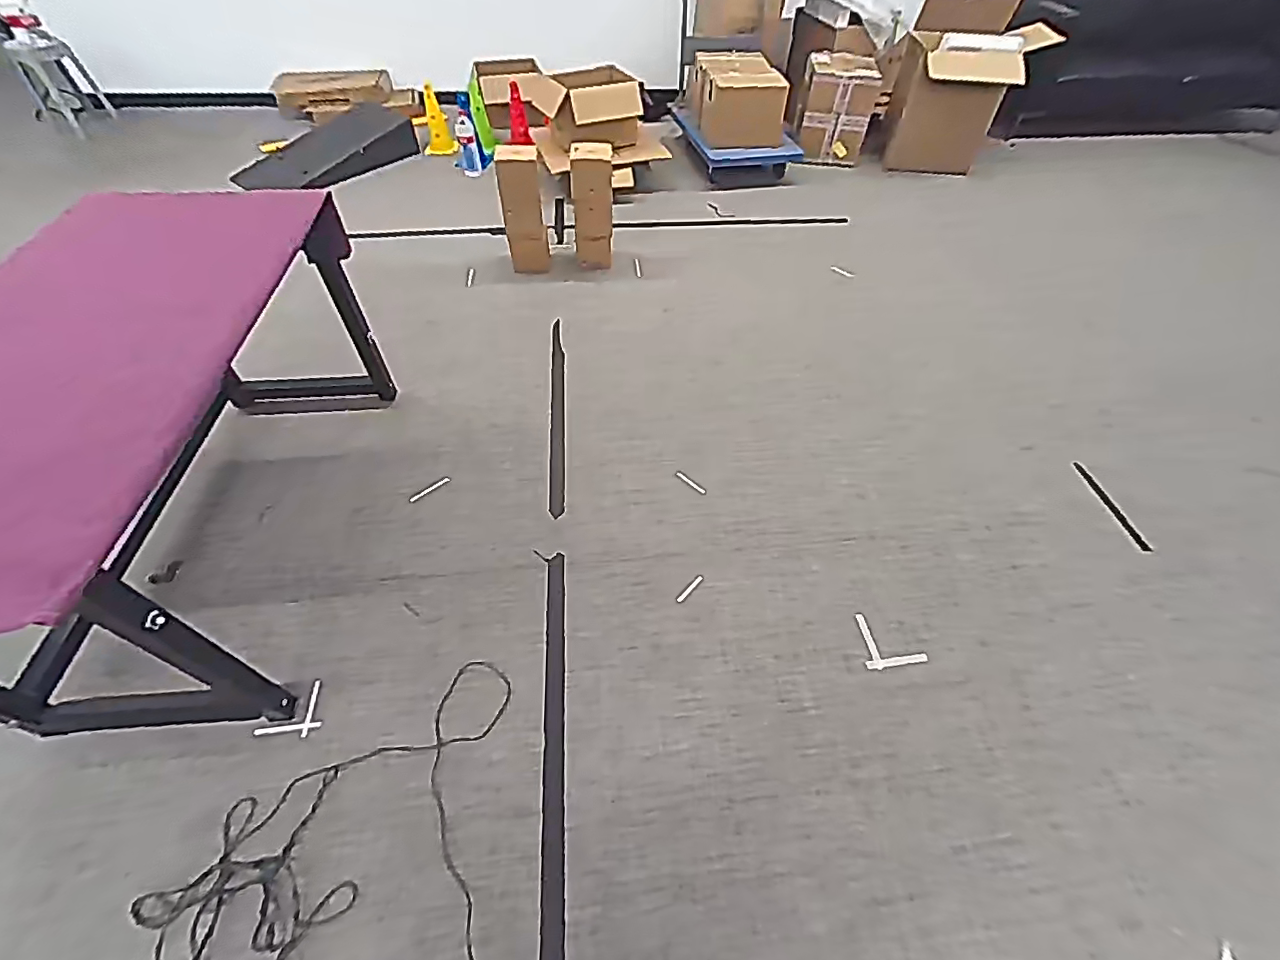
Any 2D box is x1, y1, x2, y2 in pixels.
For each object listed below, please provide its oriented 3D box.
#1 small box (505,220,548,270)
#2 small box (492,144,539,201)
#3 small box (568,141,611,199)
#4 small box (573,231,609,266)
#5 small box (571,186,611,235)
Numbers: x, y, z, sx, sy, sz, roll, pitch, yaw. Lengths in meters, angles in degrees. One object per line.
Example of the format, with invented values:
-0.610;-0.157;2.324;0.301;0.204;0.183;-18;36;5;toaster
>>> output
-0.536;-1.116;2.576;0.179;0.176;0.168;-3;52;-5;small box
-0.529;-1.317;2.318;0.179;0.176;0.168;-5;50;-6;small box
-0.218;-1.340;2.346;0.179;0.176;0.168;1;52;-3;small box
-0.236;-1.153;2.616;0.168;0.176;0.179;-4;51;-6;small box
-0.224;-1.241;2.477;0.179;0.176;0.168;-2;53;-5;small box
